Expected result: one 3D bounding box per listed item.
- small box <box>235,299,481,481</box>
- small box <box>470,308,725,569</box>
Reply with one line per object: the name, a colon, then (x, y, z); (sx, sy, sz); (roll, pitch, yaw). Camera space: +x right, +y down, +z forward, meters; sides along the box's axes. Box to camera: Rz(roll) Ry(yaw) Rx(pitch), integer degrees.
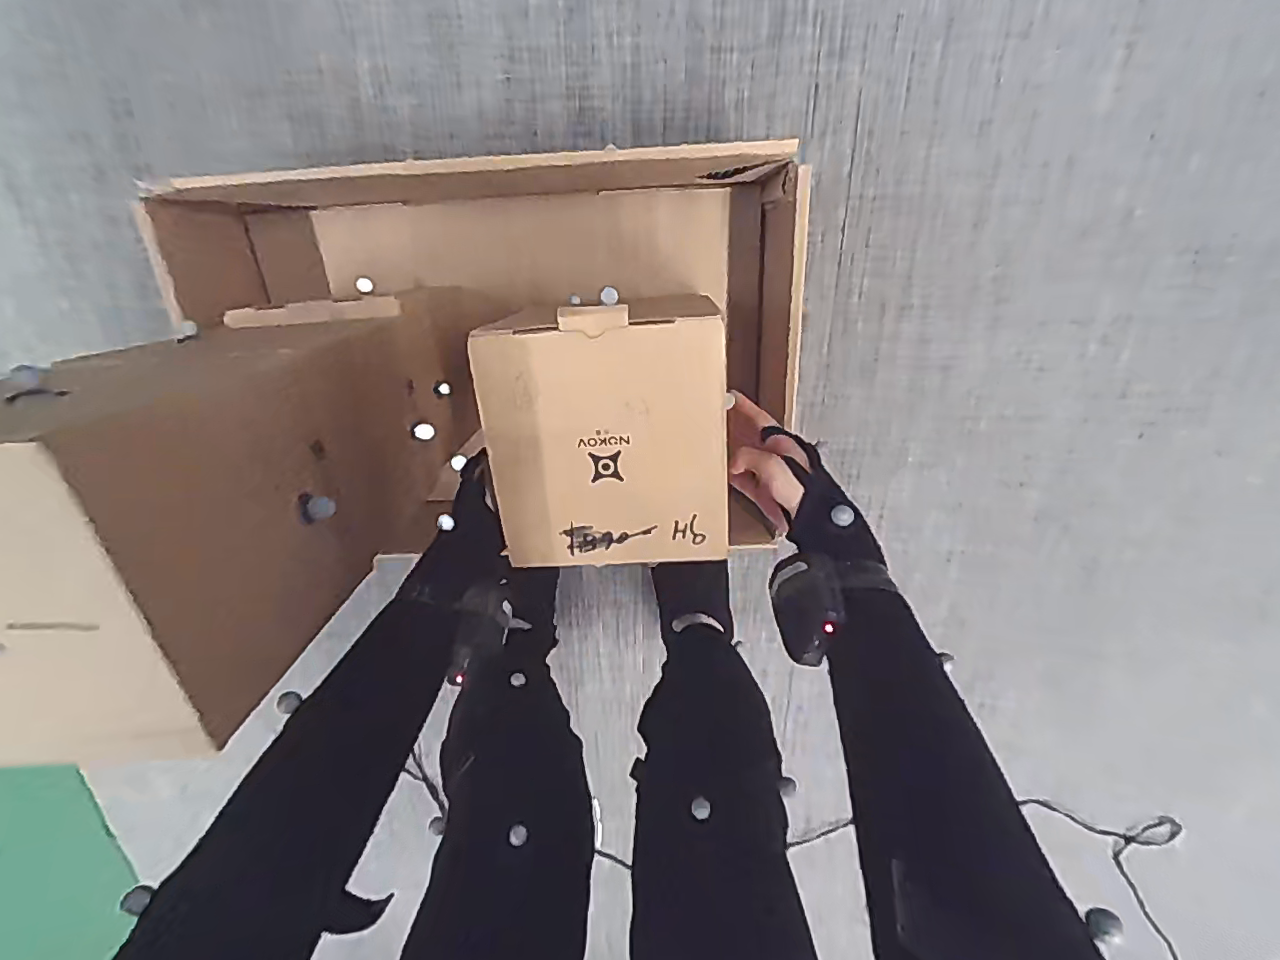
small box: (-0.294, -0.103, 0.614); (0.168, 0.176, 0.179); (-6, 112, 2)
small box: (-0.021, -0.046, 0.452); (0.168, 0.176, 0.179); (-4, 112, 6)
